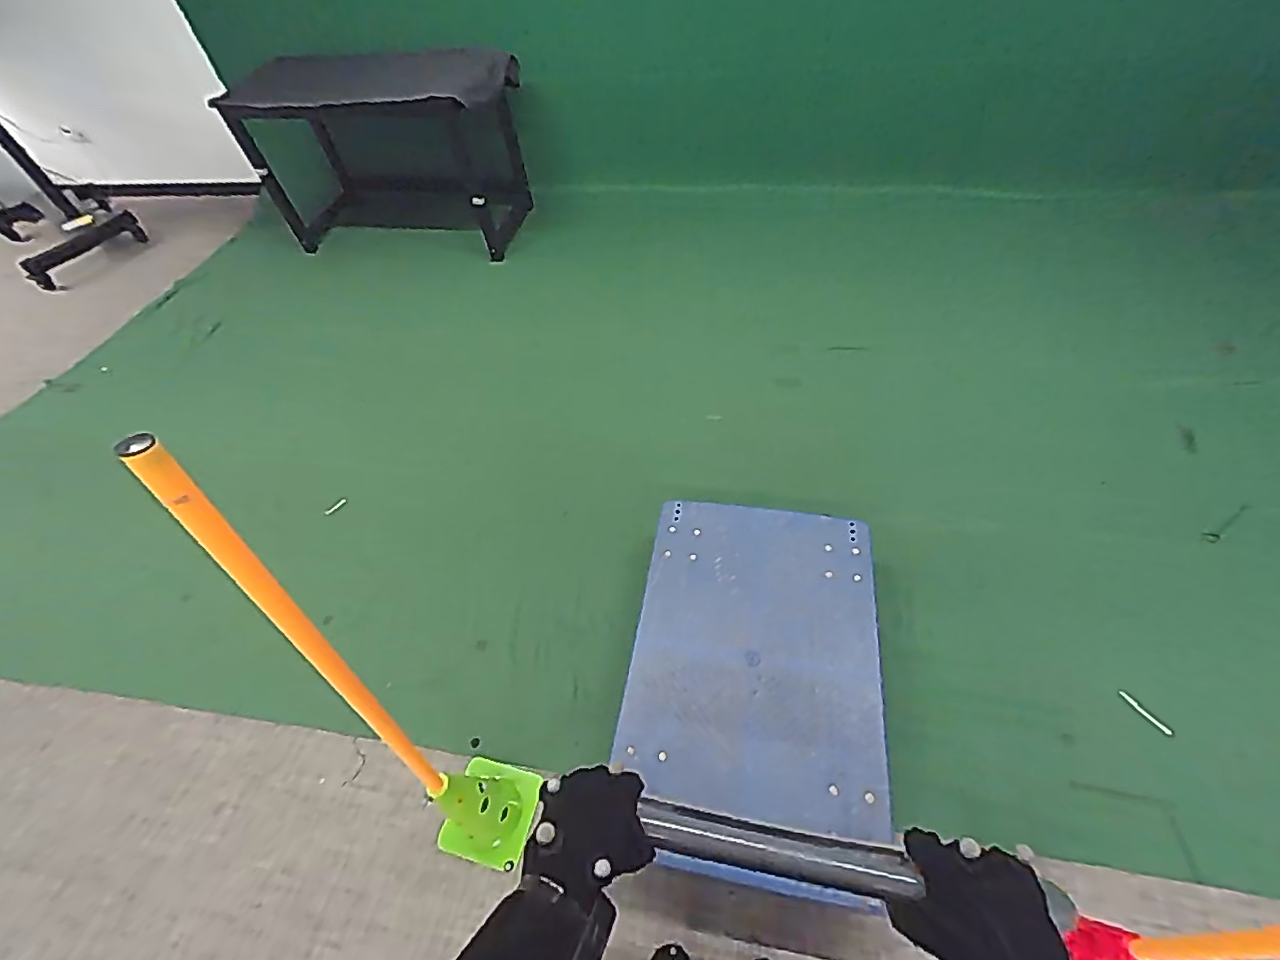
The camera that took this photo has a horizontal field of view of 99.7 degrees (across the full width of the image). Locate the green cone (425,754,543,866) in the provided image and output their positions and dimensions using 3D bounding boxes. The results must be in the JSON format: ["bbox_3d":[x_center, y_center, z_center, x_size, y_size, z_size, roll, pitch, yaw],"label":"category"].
[{"bbox_3d":[-0.364,0.671,1.155,0.202,0.368,0.200,8,52,13],"label":"green cone"}]
